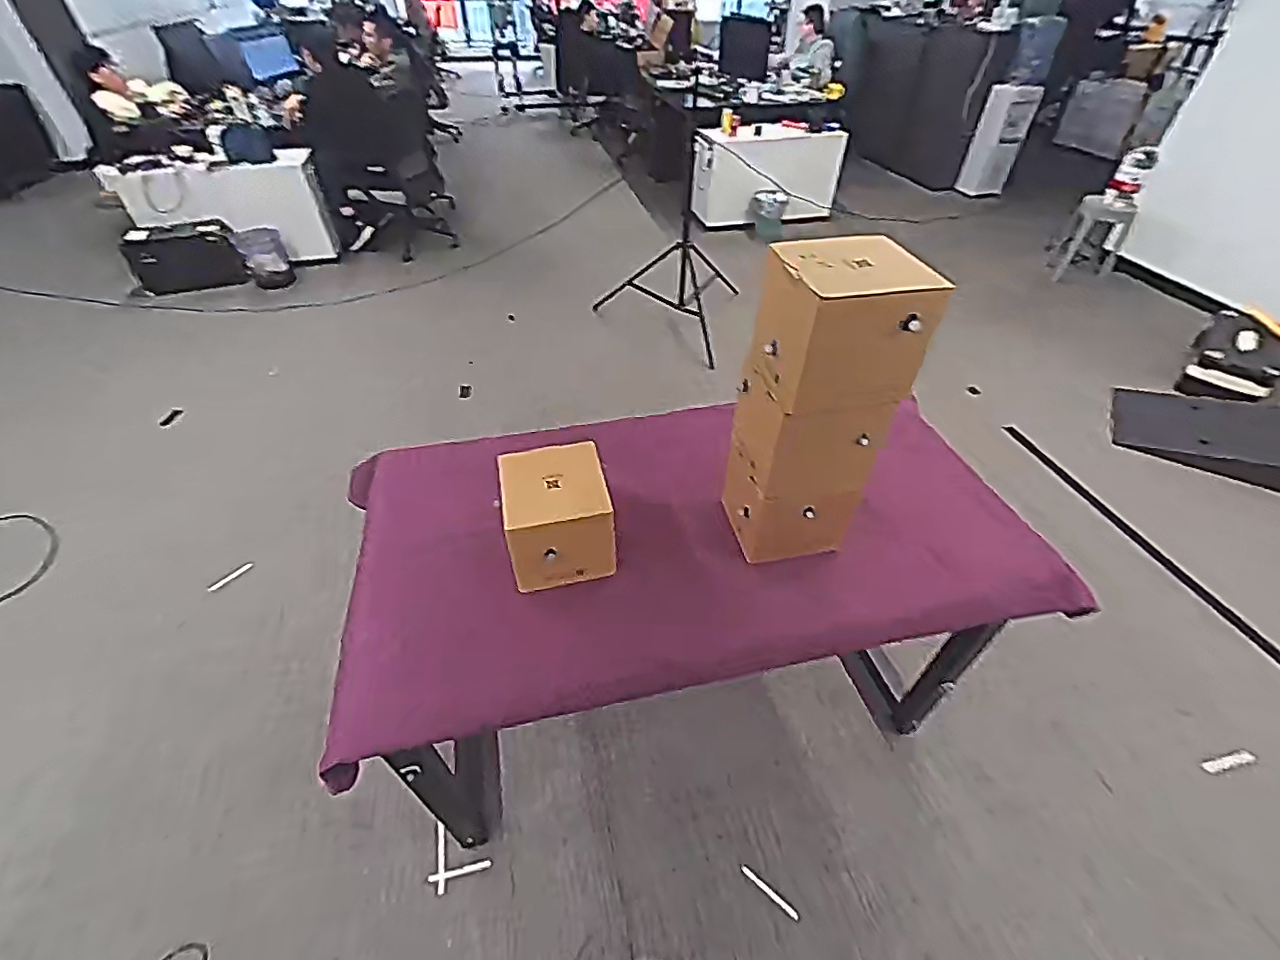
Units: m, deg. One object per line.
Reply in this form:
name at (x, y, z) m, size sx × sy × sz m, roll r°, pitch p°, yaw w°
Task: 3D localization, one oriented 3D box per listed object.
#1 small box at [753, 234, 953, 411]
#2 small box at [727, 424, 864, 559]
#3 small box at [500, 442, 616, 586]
small box at (0.271, -0.214, 0.736) m, size 0.179 × 0.176 × 0.168 m, roll -9°, pitch 44°, yaw -8°
small box at (0.262, 0.023, 0.966) m, size 0.179 × 0.176 × 0.168 m, roll -8°, pitch 45°, yaw -8°
small box at (-0.138, 0.063, 0.925) m, size 0.168 × 0.176 × 0.179 m, roll -10°, pitch 44°, yaw -10°
